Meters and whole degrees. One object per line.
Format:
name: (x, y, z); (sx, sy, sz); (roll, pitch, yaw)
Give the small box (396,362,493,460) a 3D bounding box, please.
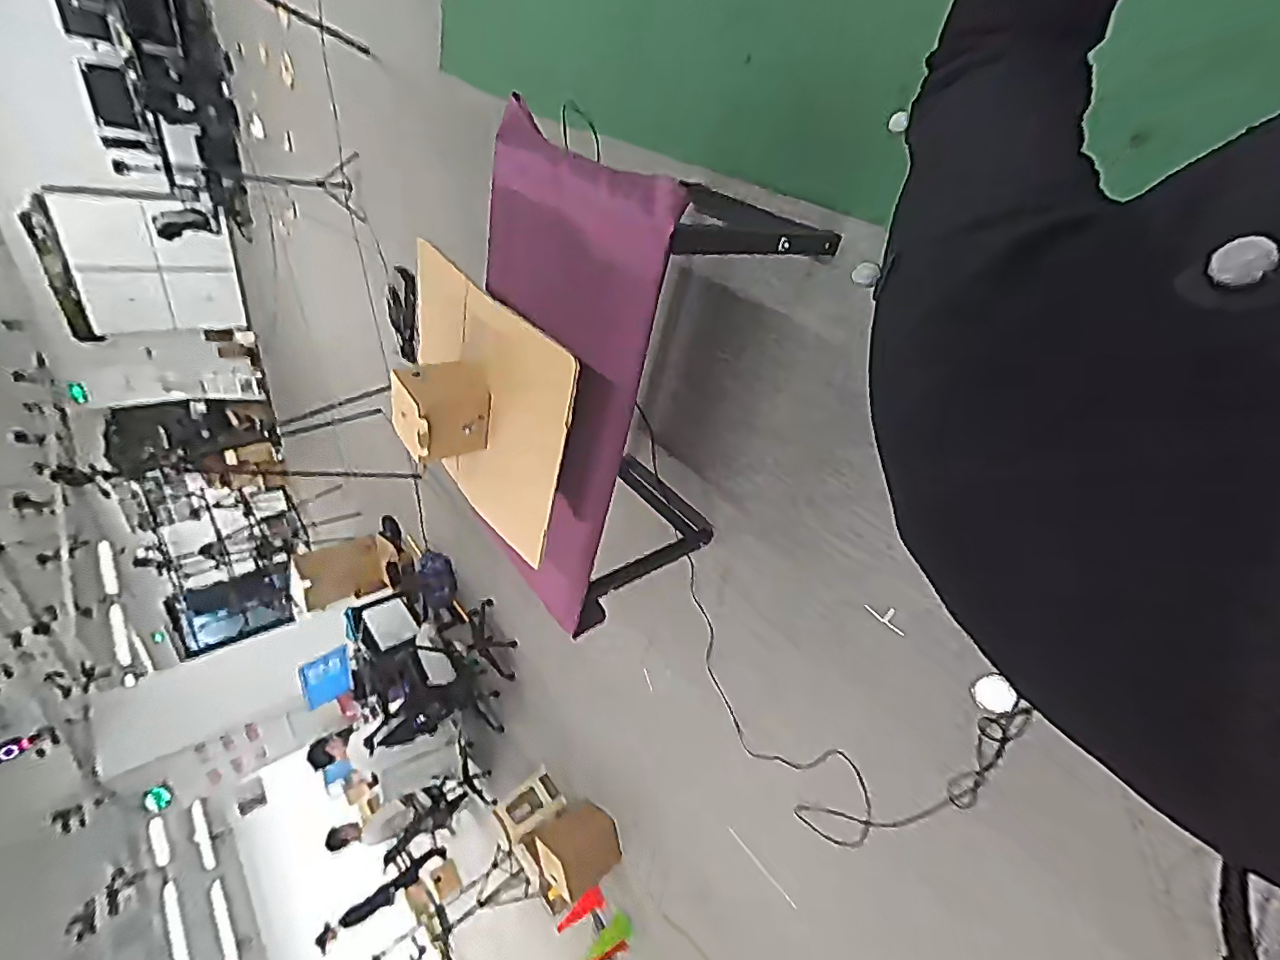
small box: (-0.479, -0.175, 1.320); (0.179, 0.176, 0.168); (44, 134, 31)
